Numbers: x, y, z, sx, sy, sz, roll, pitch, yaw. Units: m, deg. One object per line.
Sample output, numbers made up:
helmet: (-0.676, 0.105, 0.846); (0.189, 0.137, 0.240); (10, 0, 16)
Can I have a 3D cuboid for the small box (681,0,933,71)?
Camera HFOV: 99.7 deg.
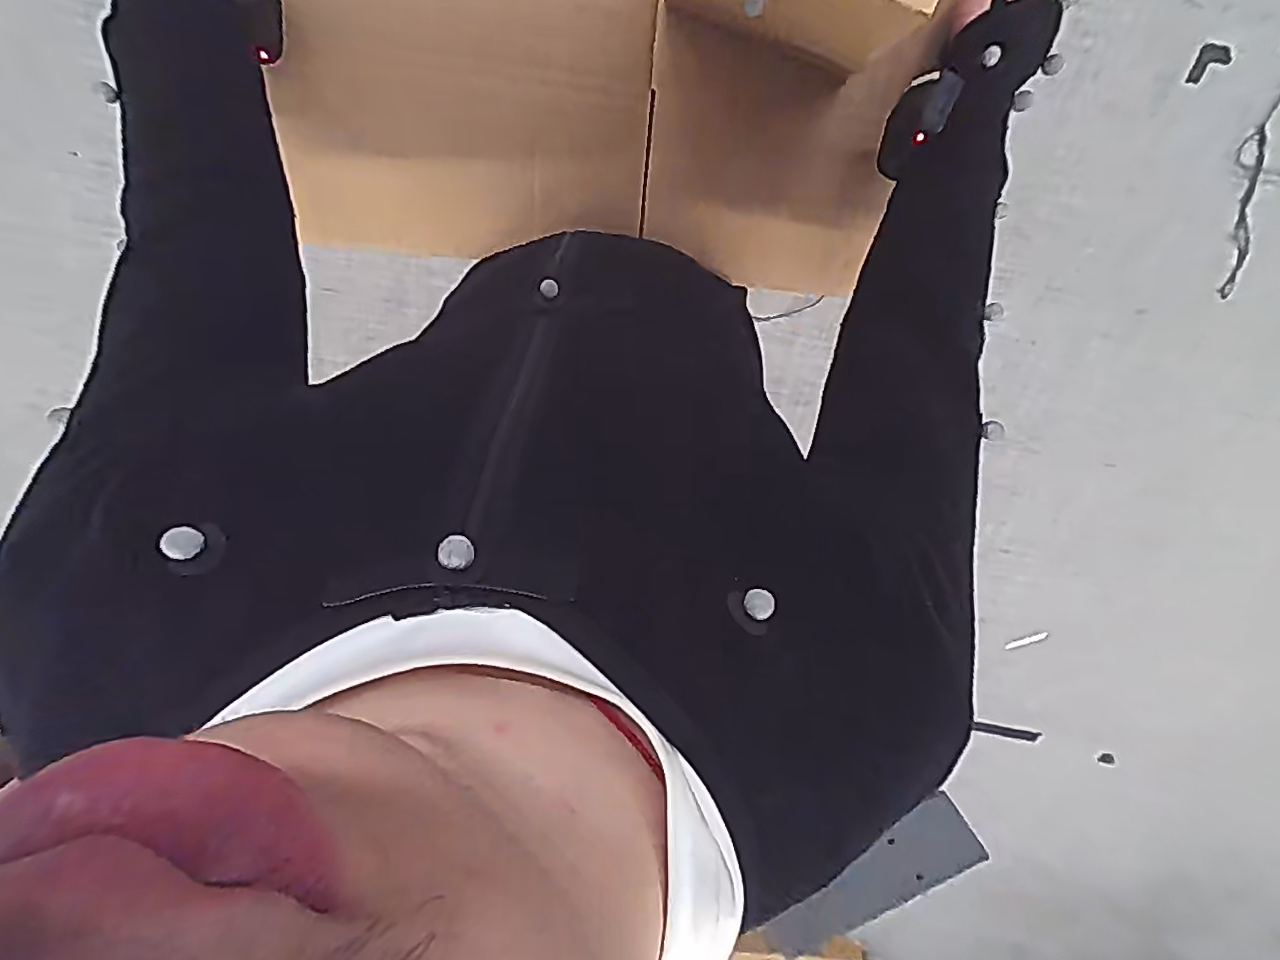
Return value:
small box: (0.130, -0.419, 0.369); (0.179, 0.176, 0.168); (19, 114, -5)
